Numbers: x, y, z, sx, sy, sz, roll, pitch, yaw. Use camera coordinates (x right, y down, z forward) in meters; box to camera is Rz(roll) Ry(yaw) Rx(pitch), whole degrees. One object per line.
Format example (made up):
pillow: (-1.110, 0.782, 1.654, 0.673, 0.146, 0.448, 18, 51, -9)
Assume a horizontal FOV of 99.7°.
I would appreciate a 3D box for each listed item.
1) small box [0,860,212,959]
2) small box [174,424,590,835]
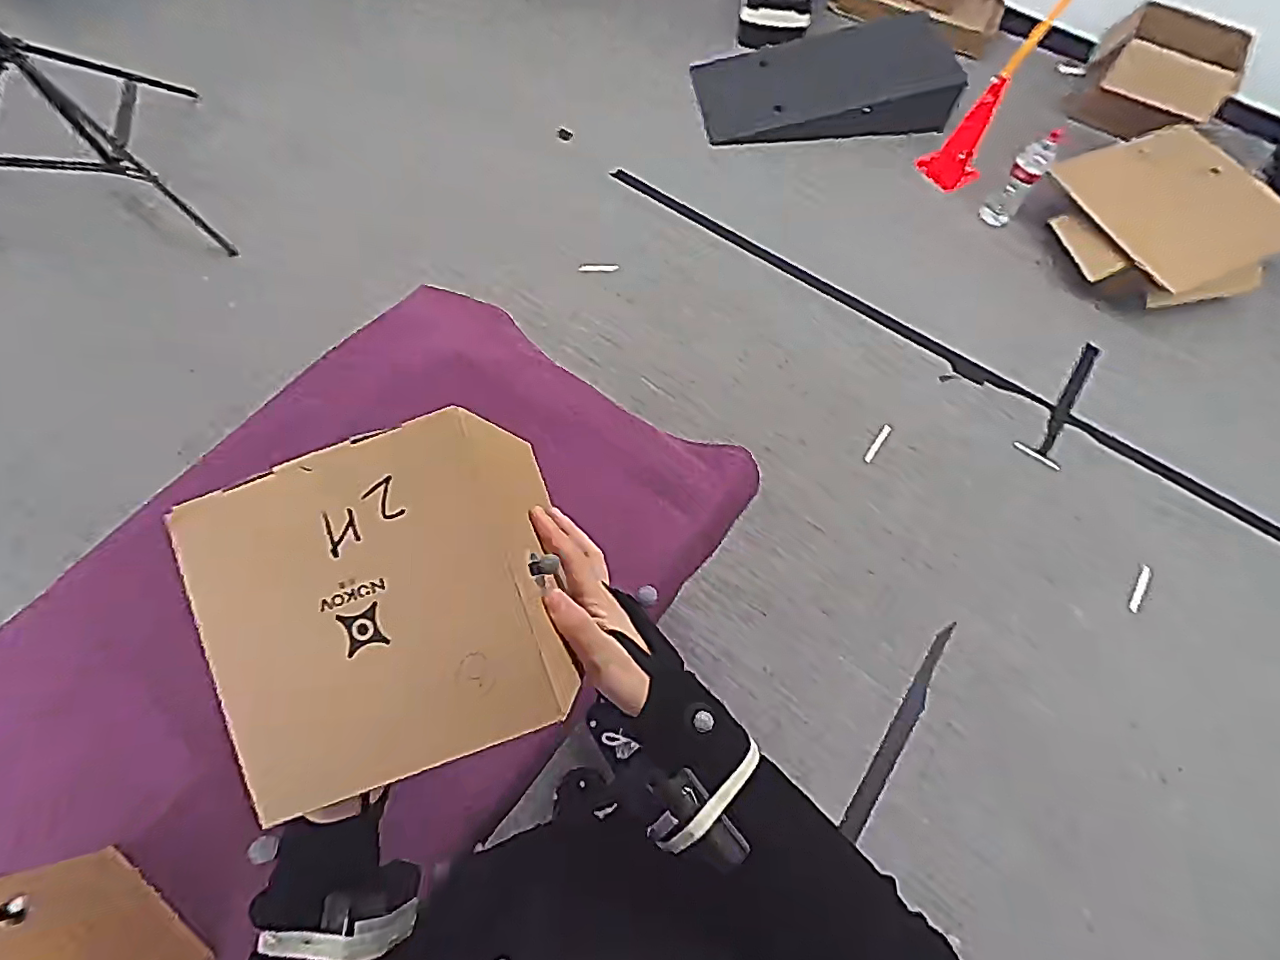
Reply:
small box: (-0.535, 0.474, 0.466, 0.179, 0.176, 0.168, 34, 70, 12)
small box: (-0.140, 0.080, 0.360, 0.168, 0.176, 0.179, -20, 86, 0)
